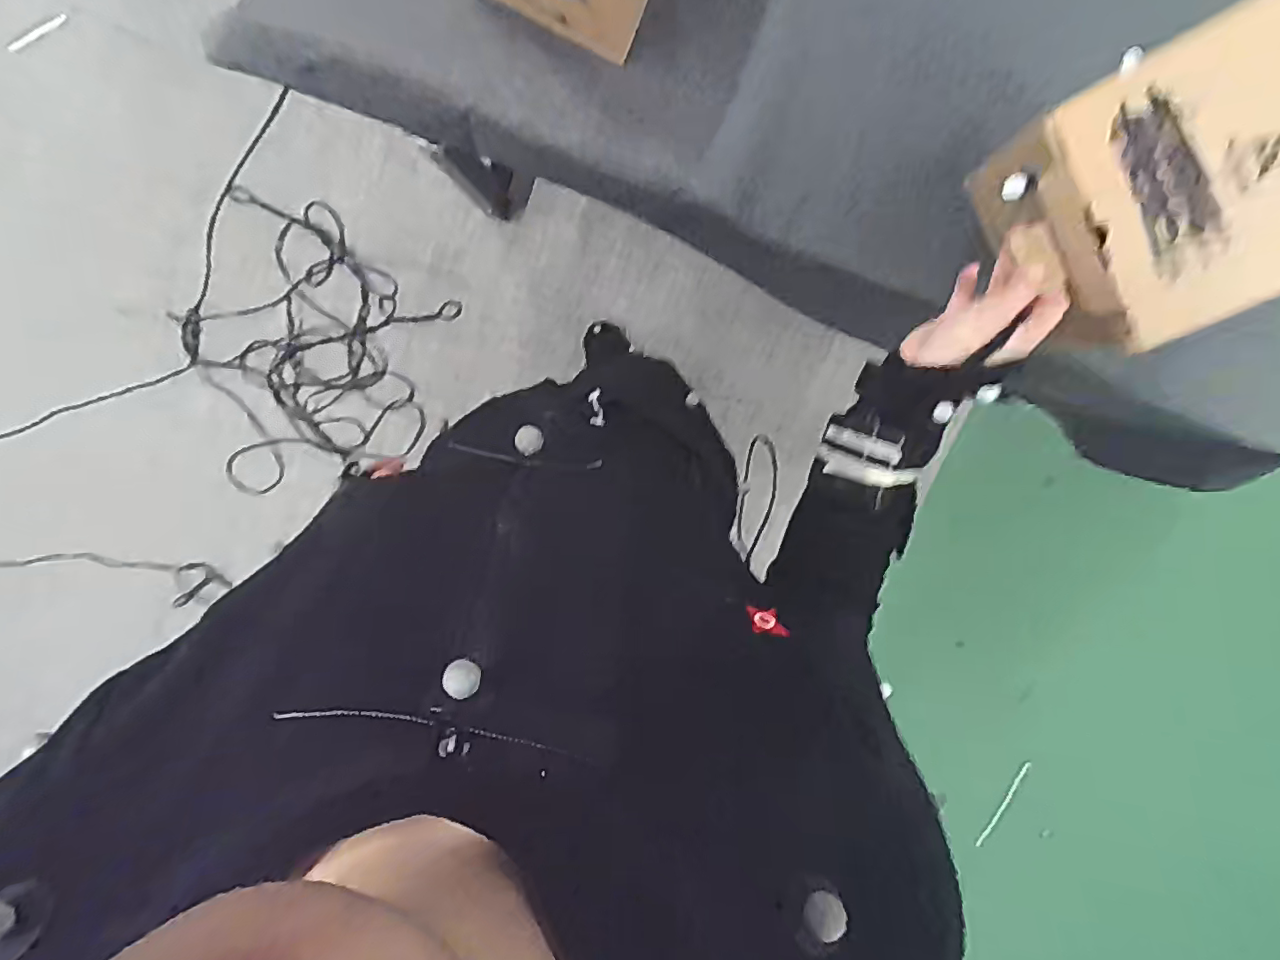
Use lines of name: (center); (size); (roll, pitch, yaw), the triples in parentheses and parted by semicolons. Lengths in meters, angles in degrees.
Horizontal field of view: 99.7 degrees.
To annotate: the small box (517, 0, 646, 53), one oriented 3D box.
small box: (-0.053, -0.486, 0.411); (0.168, 0.176, 0.179); (22, 99, -8)
